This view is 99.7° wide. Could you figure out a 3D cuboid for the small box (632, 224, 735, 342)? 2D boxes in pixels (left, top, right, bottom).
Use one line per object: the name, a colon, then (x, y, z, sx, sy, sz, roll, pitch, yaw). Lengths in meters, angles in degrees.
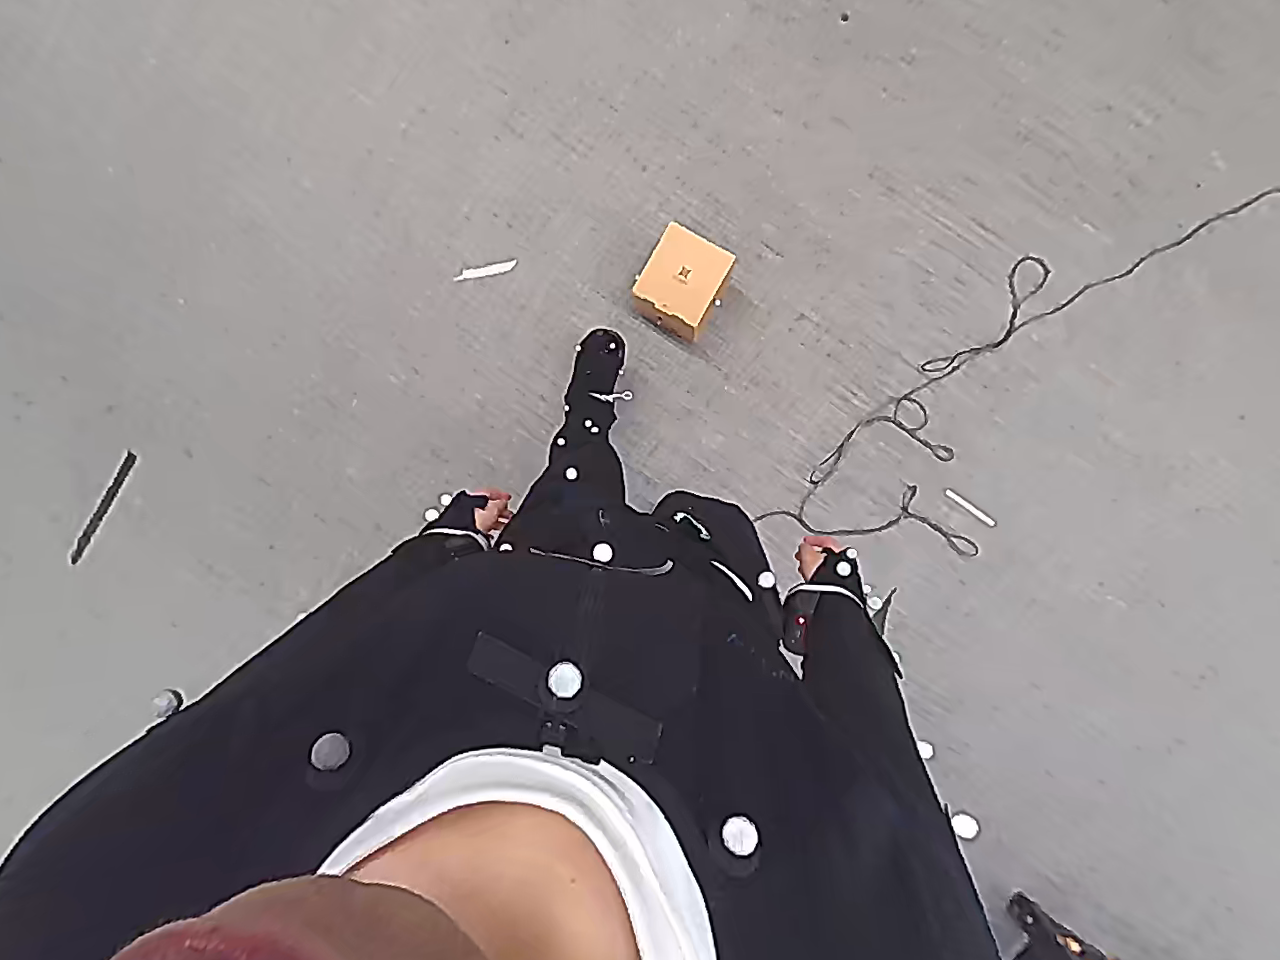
small box: (0.098, -0.444, 1.248, 0.168, 0.176, 0.179, 30, 95, 3)
